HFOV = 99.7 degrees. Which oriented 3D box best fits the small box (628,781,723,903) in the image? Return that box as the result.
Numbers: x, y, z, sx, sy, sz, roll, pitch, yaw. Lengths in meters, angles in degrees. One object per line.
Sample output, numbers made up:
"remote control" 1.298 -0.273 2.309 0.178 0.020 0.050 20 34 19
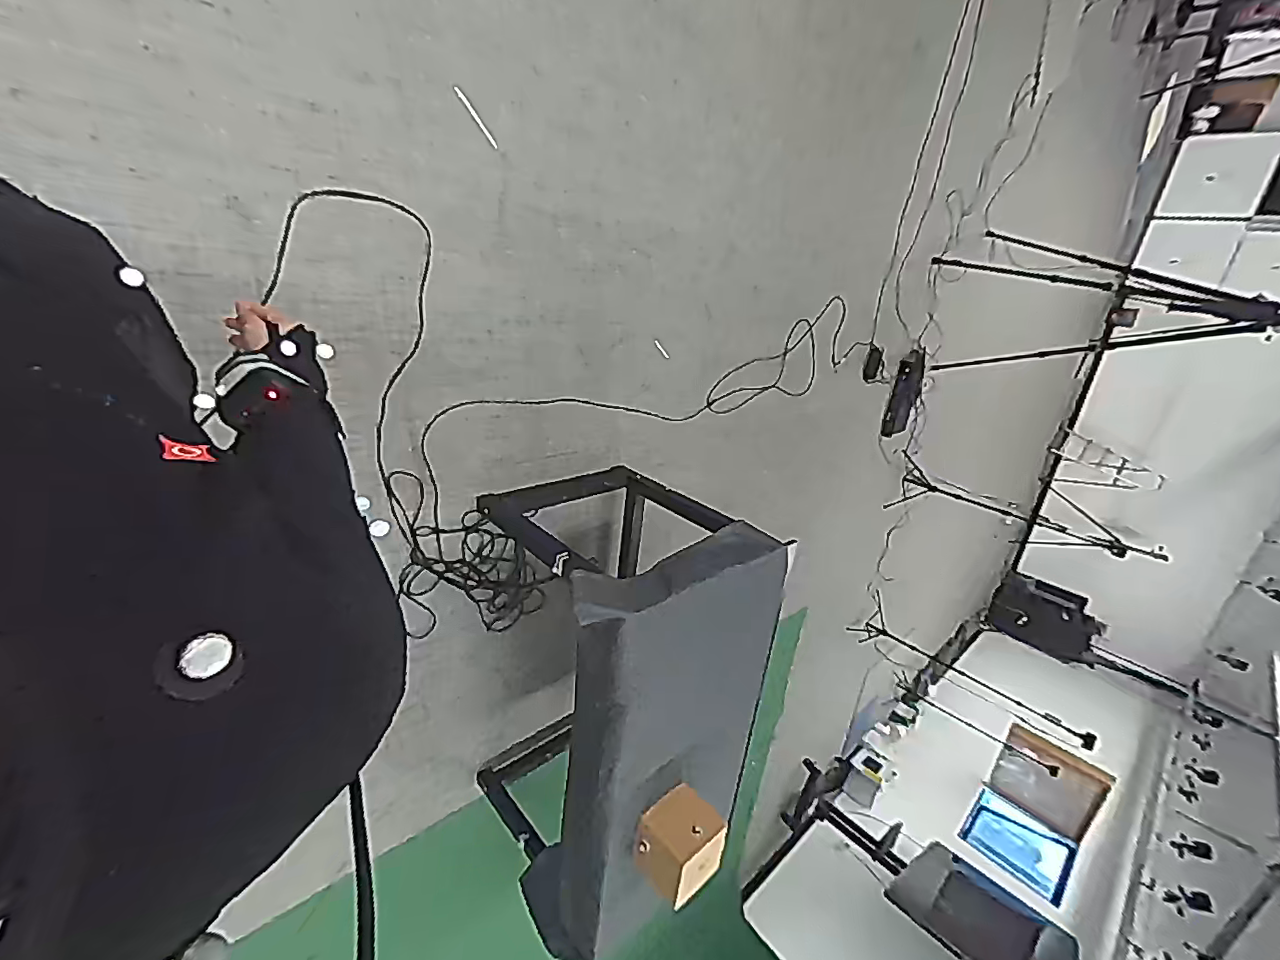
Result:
"small box" 0.092 0.953 1.443 0.179 0.176 0.168 -12 117 -41
